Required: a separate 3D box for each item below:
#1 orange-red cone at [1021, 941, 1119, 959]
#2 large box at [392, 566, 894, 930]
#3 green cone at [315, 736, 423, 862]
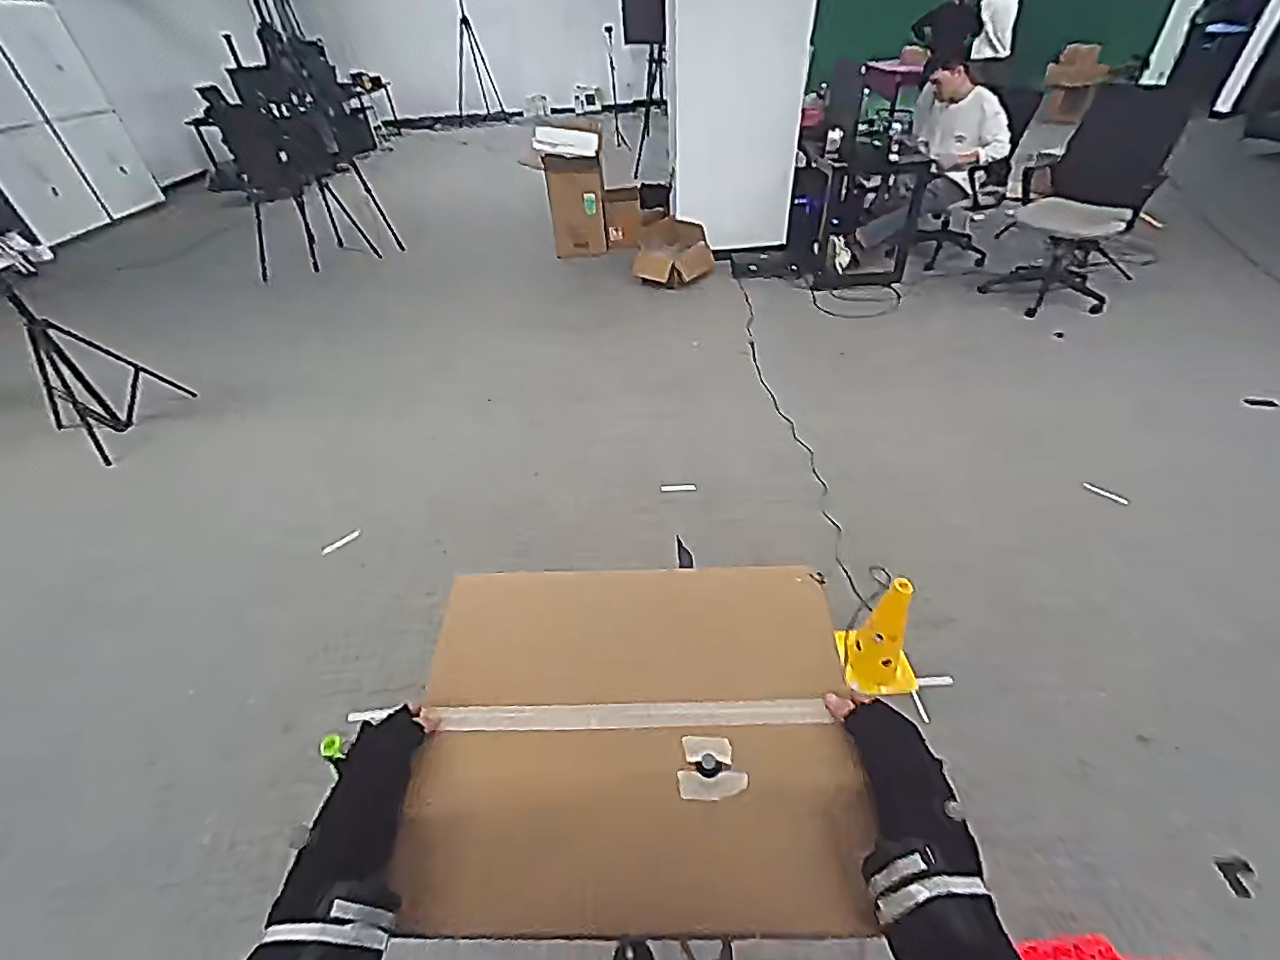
[{"bbox_3d":[0.847,0.868,0.905,0.198,0.360,0.199,-4,39,-1],"label":"orange-red cone"},{"bbox_3d":[0.003,0.315,0.628,0.408,0.320,0.320,-1,50,2],"label":"large box"},{"bbox_3d":[-0.640,0.682,1.249,0.202,0.368,0.200,-31,46,-25],"label":"green cone"}]
